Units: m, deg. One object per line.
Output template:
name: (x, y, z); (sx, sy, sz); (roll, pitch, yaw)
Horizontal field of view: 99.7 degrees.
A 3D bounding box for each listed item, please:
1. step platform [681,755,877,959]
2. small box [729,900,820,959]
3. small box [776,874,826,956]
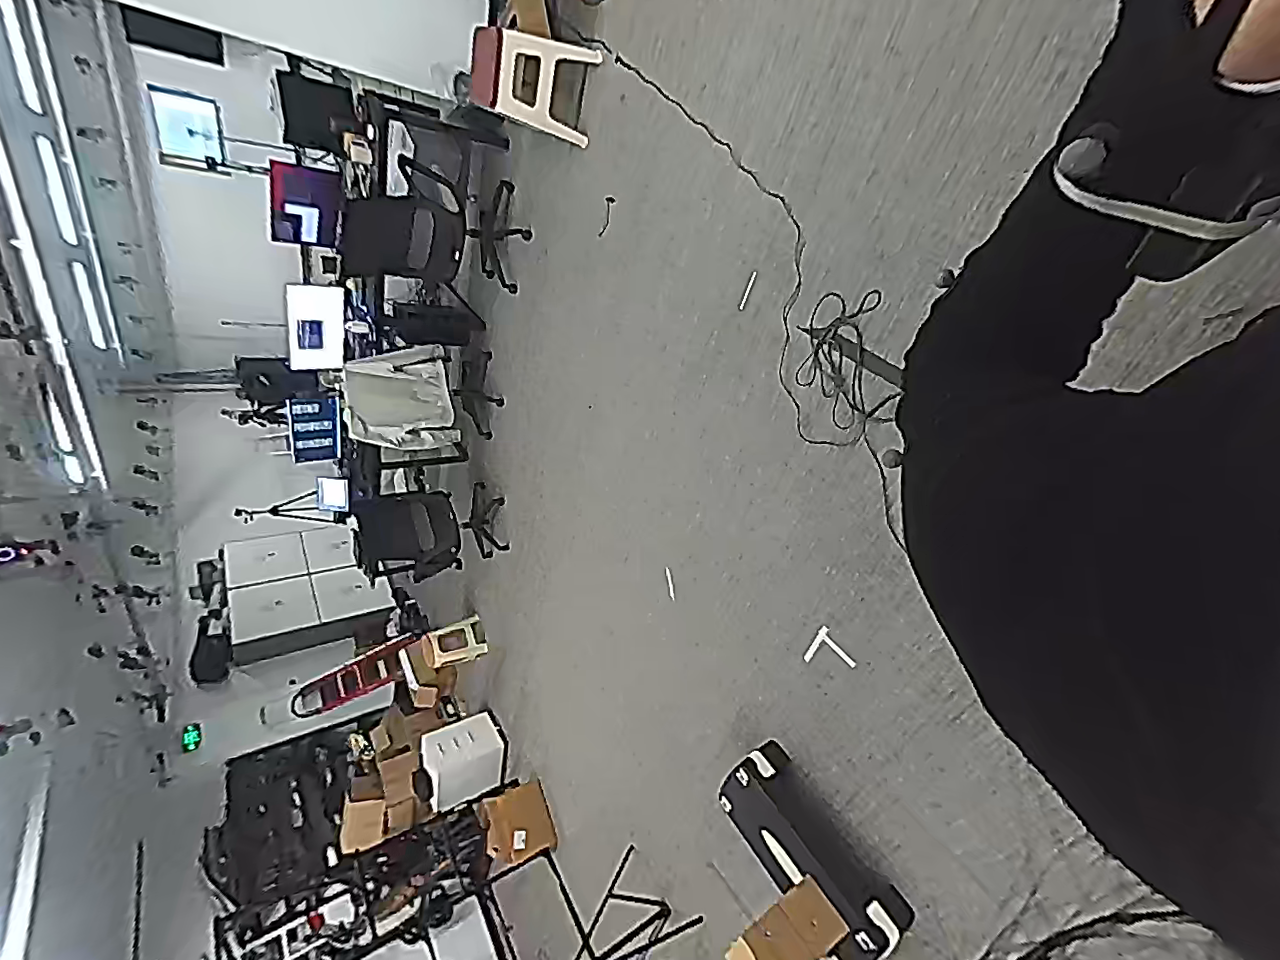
step platform: (0.433, 1.295, 1.801); (0.684, 0.204, 0.286); (46, 133, 39)
small box: (0.409, 1.429, 1.645); (0.179, 0.176, 0.168); (44, 131, 41)
small box: (0.540, 1.409, 1.741); (0.179, 0.176, 0.168); (44, 130, 40)
